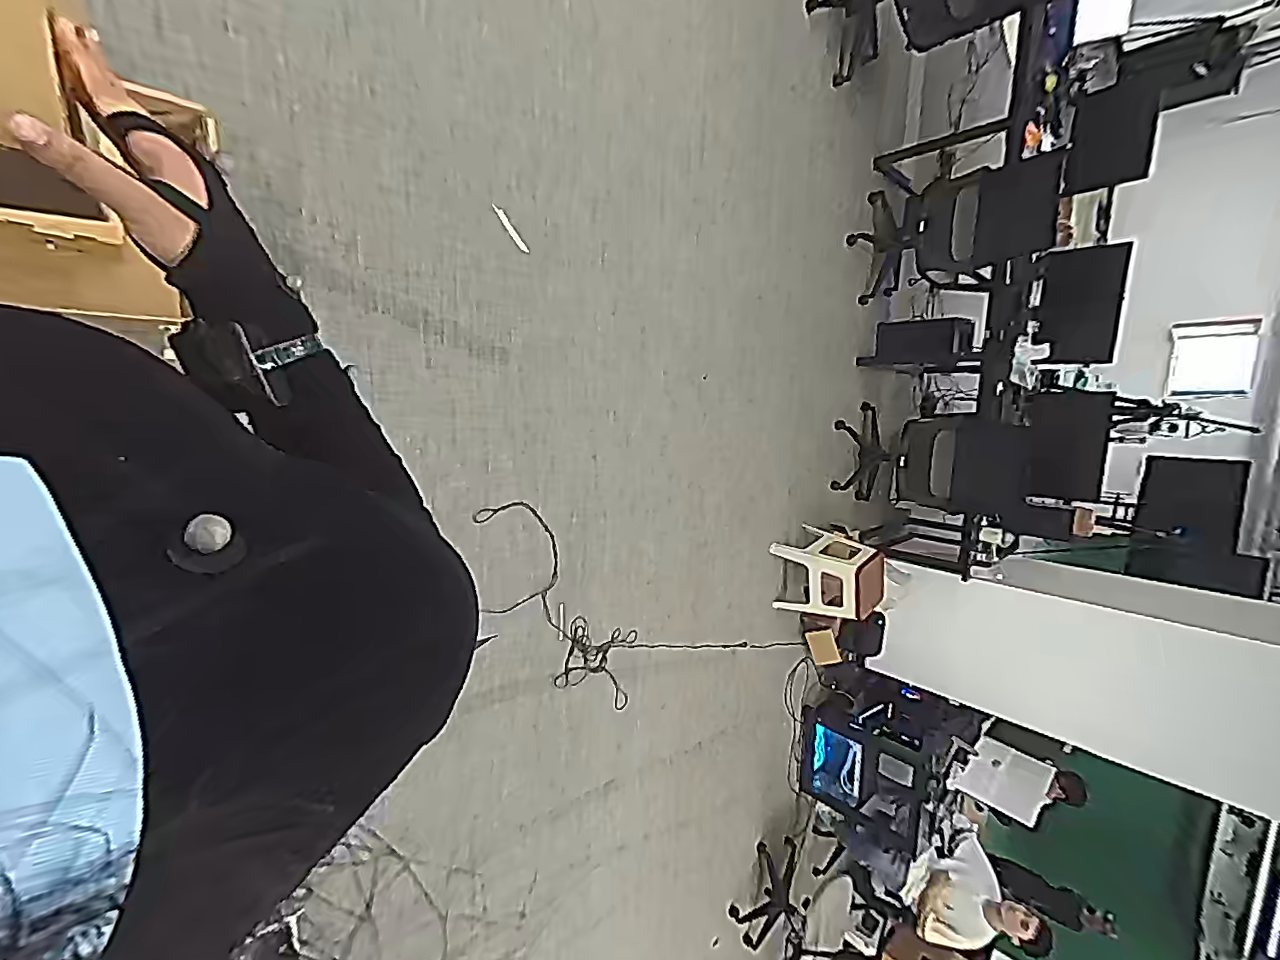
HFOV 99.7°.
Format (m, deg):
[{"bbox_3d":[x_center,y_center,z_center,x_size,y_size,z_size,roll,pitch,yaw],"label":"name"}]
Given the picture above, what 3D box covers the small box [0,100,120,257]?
[{"bbox_3d":[-1.001,-0.500,0.917,0.168,0.176,0.179,0,97,-44],"label":"small box"}]
